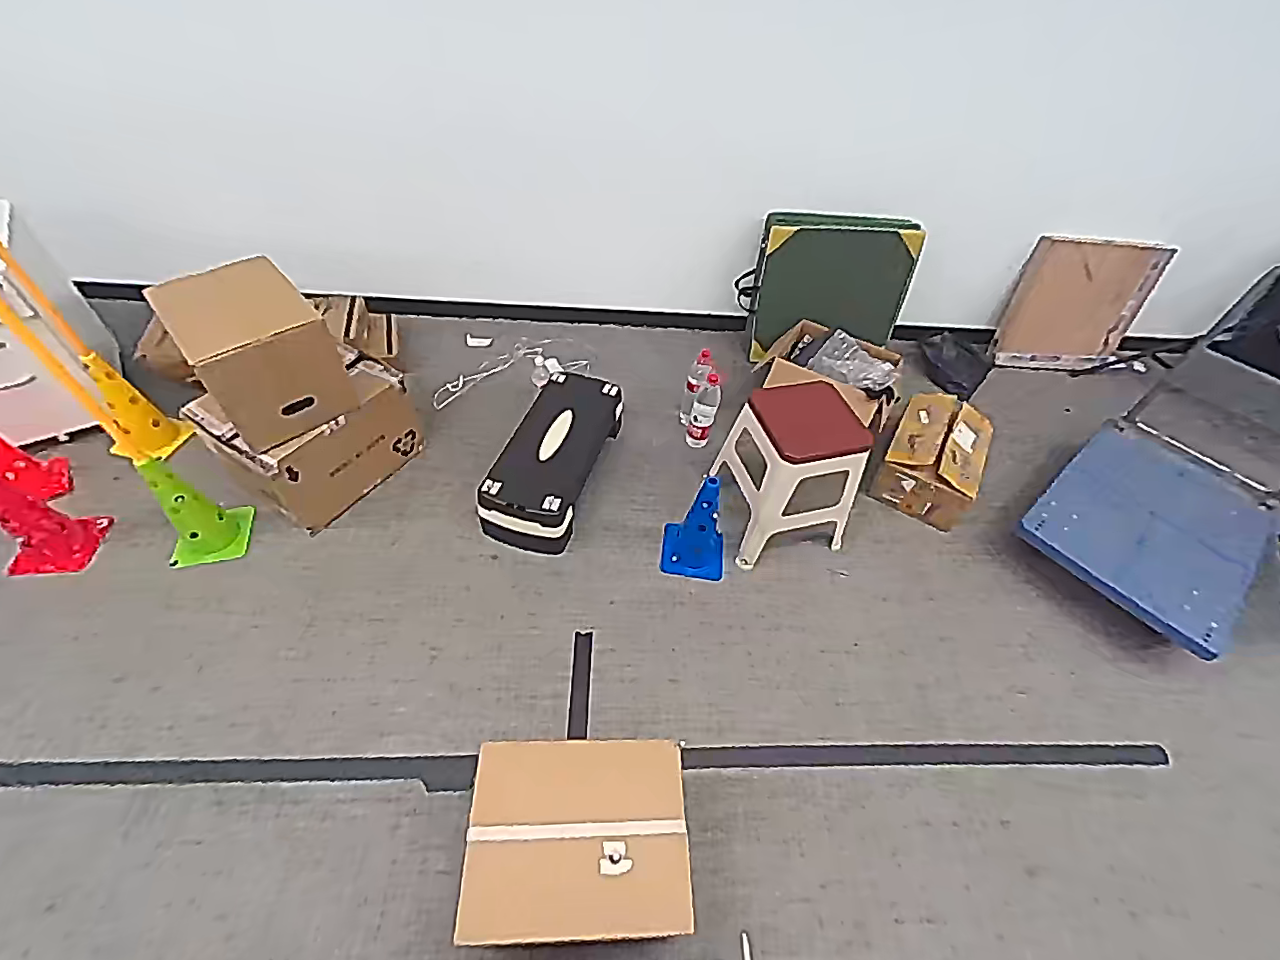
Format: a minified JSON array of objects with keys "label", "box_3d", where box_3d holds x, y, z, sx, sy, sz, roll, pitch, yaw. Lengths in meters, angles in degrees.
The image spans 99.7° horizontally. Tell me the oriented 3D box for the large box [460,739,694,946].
[{"label":"large box","box_3d":[-0.126,0.749,1.119,0.408,0.320,0.320,2,50,-6]}]
